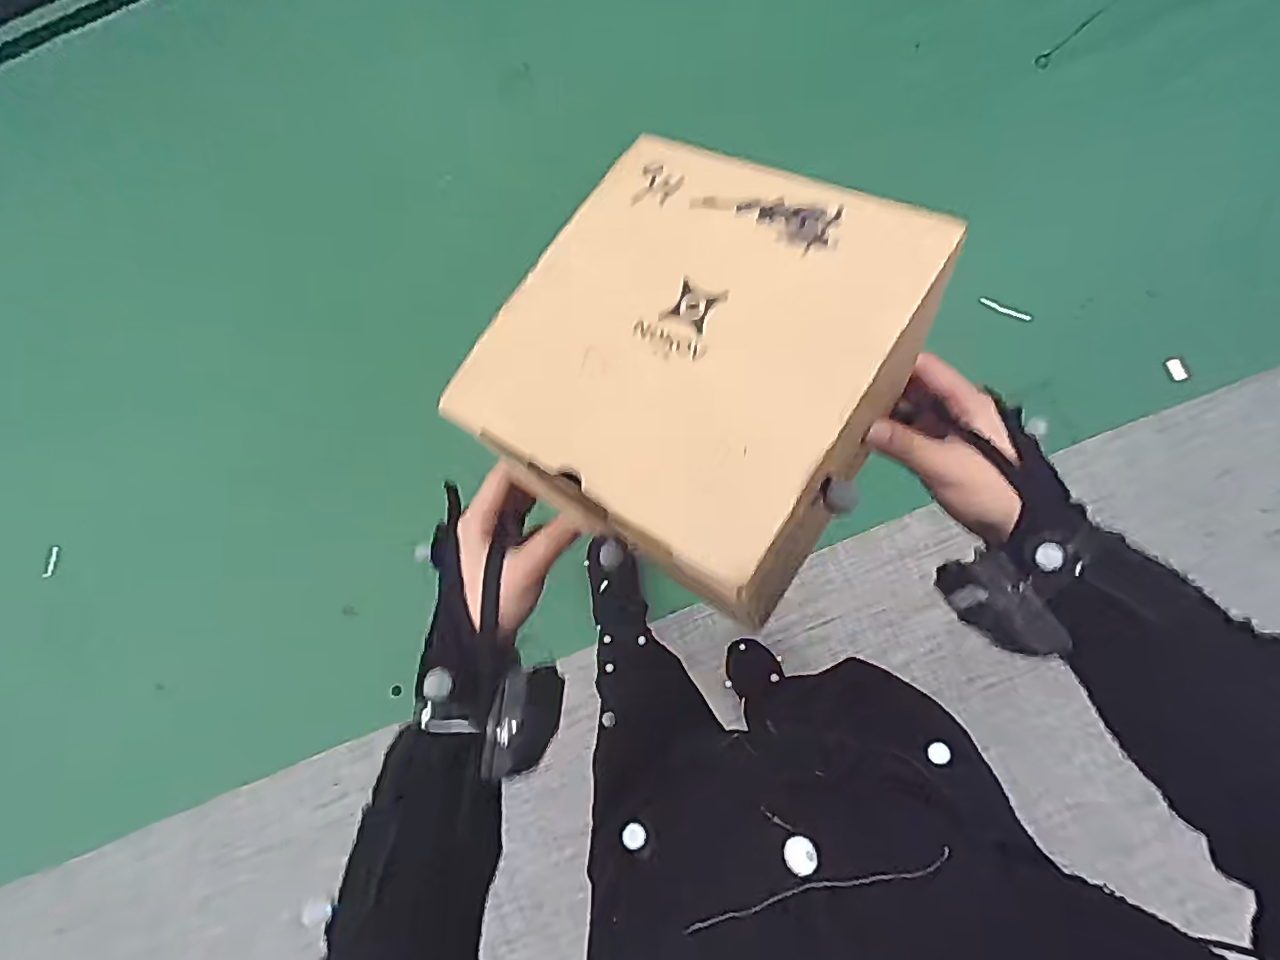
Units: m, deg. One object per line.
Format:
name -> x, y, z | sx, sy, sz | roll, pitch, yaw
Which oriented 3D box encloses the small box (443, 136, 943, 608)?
small box -> 0.035, -0.044, 0.312 | 0.168, 0.176, 0.179 | 31, 82, 23
